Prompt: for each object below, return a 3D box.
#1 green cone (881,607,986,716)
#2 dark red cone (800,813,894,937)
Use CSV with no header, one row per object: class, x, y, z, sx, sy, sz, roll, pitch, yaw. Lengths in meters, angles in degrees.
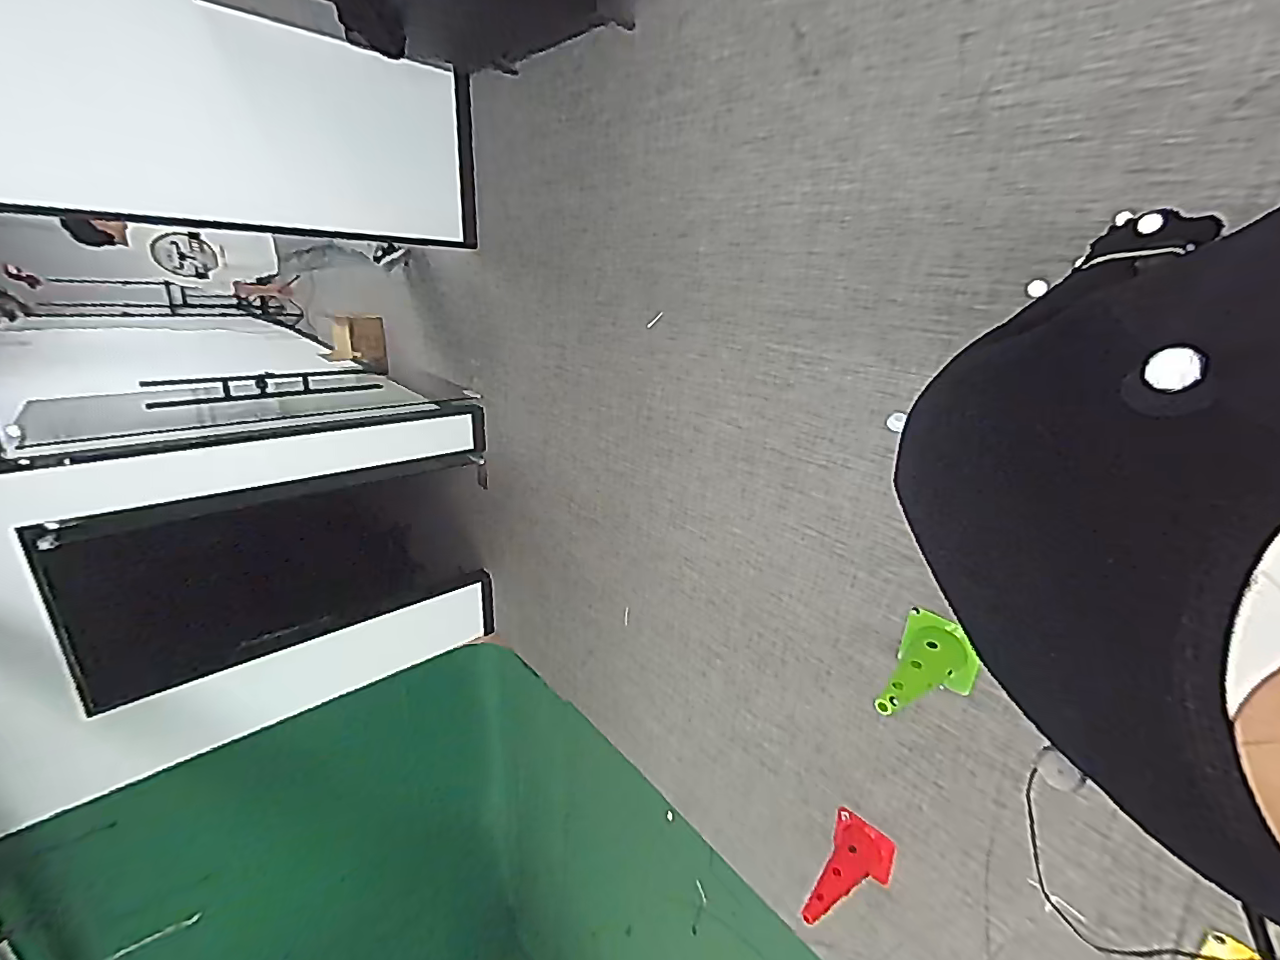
green cone,0.726,0.514,1.418,0.202,0.368,0.200,22,118,42
dark red cone,0.634,1.296,1.732,0.202,0.394,0.201,18,116,45
